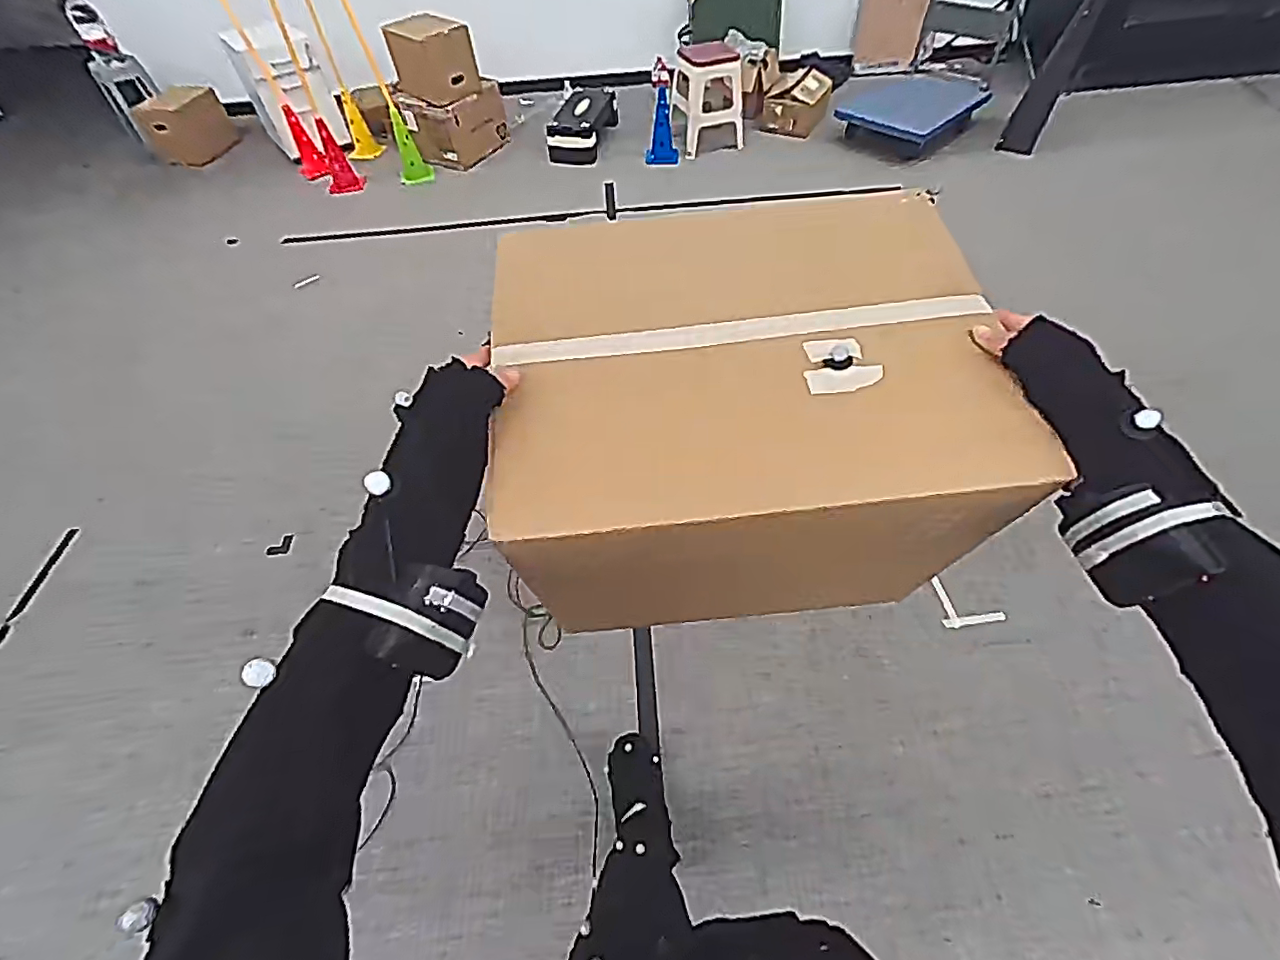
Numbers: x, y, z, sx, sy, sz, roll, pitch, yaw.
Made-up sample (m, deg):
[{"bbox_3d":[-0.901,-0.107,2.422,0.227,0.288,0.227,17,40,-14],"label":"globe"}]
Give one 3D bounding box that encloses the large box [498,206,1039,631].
[{"bbox_3d":[0.084,-0.043,0.588,0.408,0.320,0.320,-6,63,0],"label":"large box"}]
